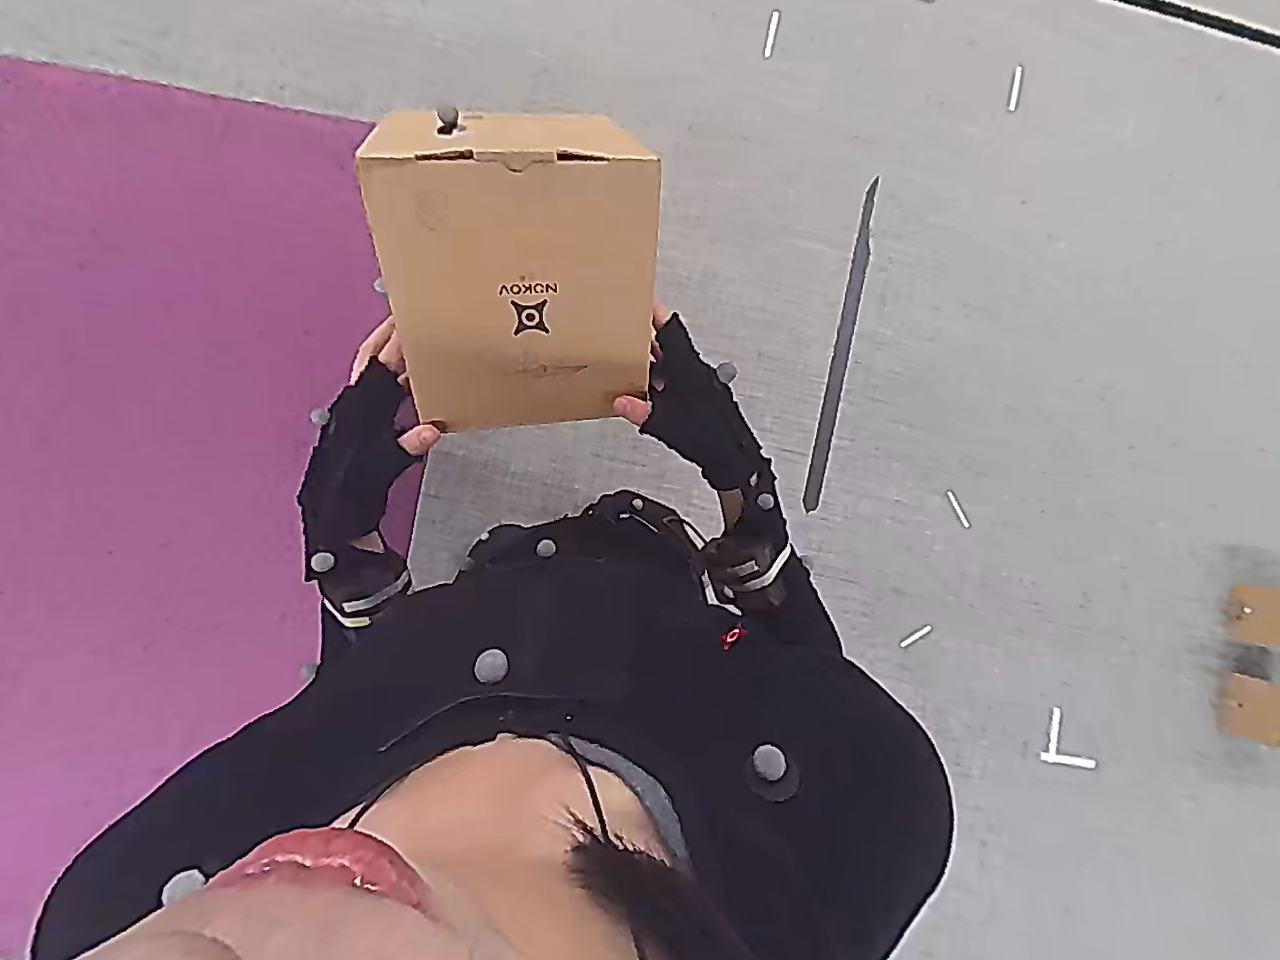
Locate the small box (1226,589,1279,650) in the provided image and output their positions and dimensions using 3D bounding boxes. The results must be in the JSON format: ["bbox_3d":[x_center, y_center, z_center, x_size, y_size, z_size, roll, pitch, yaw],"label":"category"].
[{"bbox_3d":[1.901,0.420,1.586,0.179,0.176,0.168,11,84,-3],"label":"small box"}]

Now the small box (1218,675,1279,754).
[{"bbox_3d":[1.844,0.690,1.563,0.168,0.176,0.179,15,86,-3],"label":"small box"}]

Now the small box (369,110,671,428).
[{"bbox_3d":[-0.084,-0.161,0.401,0.168,0.176,0.179,-6,131,-12],"label":"small box"}]
